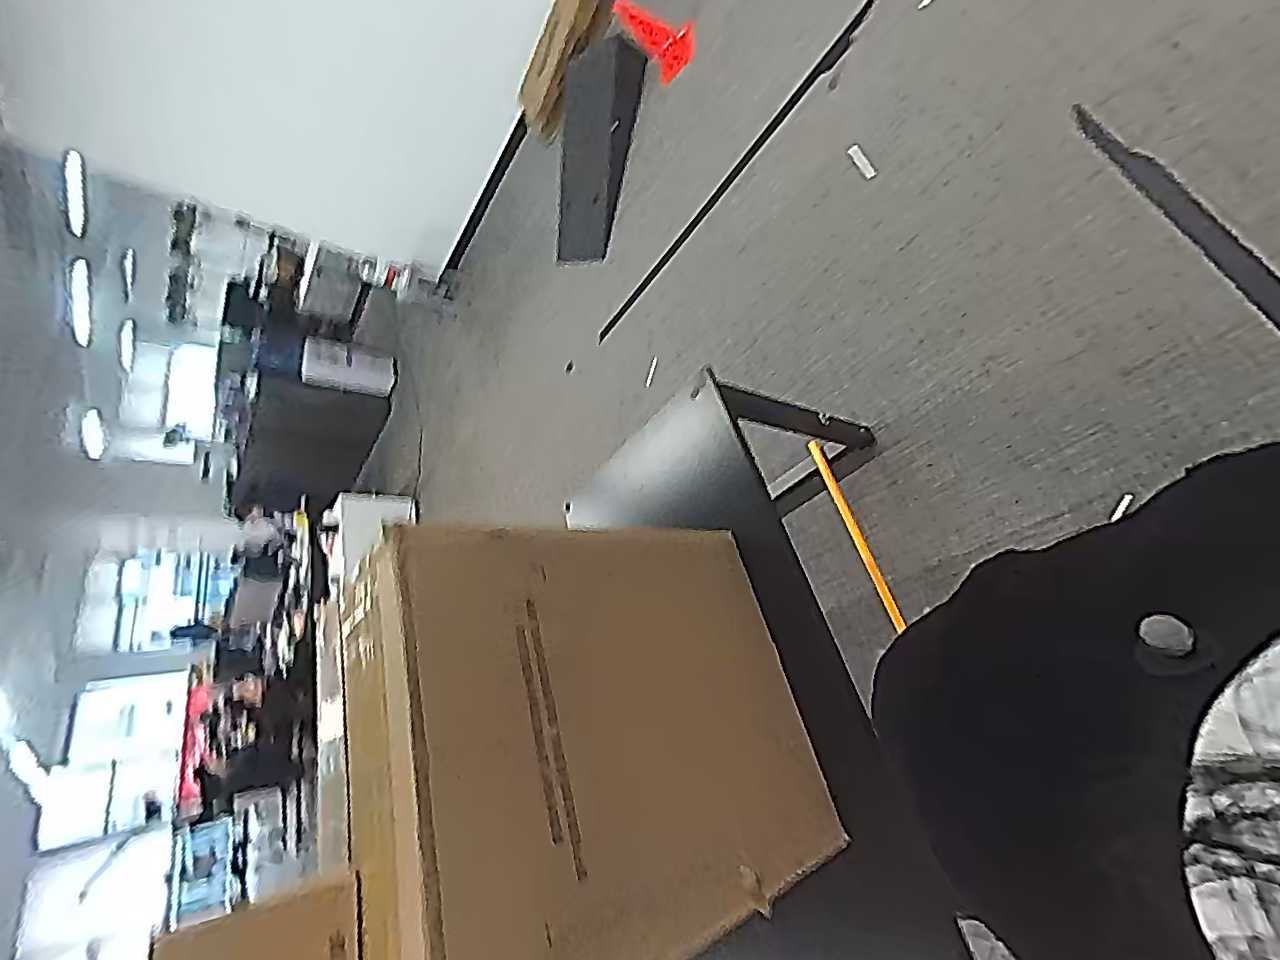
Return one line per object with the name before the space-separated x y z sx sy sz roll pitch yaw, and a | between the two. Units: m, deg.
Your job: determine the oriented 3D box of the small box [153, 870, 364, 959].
small box | -0.389 0.523 0.551 0.179 0.176 0.168 -42 54 40
